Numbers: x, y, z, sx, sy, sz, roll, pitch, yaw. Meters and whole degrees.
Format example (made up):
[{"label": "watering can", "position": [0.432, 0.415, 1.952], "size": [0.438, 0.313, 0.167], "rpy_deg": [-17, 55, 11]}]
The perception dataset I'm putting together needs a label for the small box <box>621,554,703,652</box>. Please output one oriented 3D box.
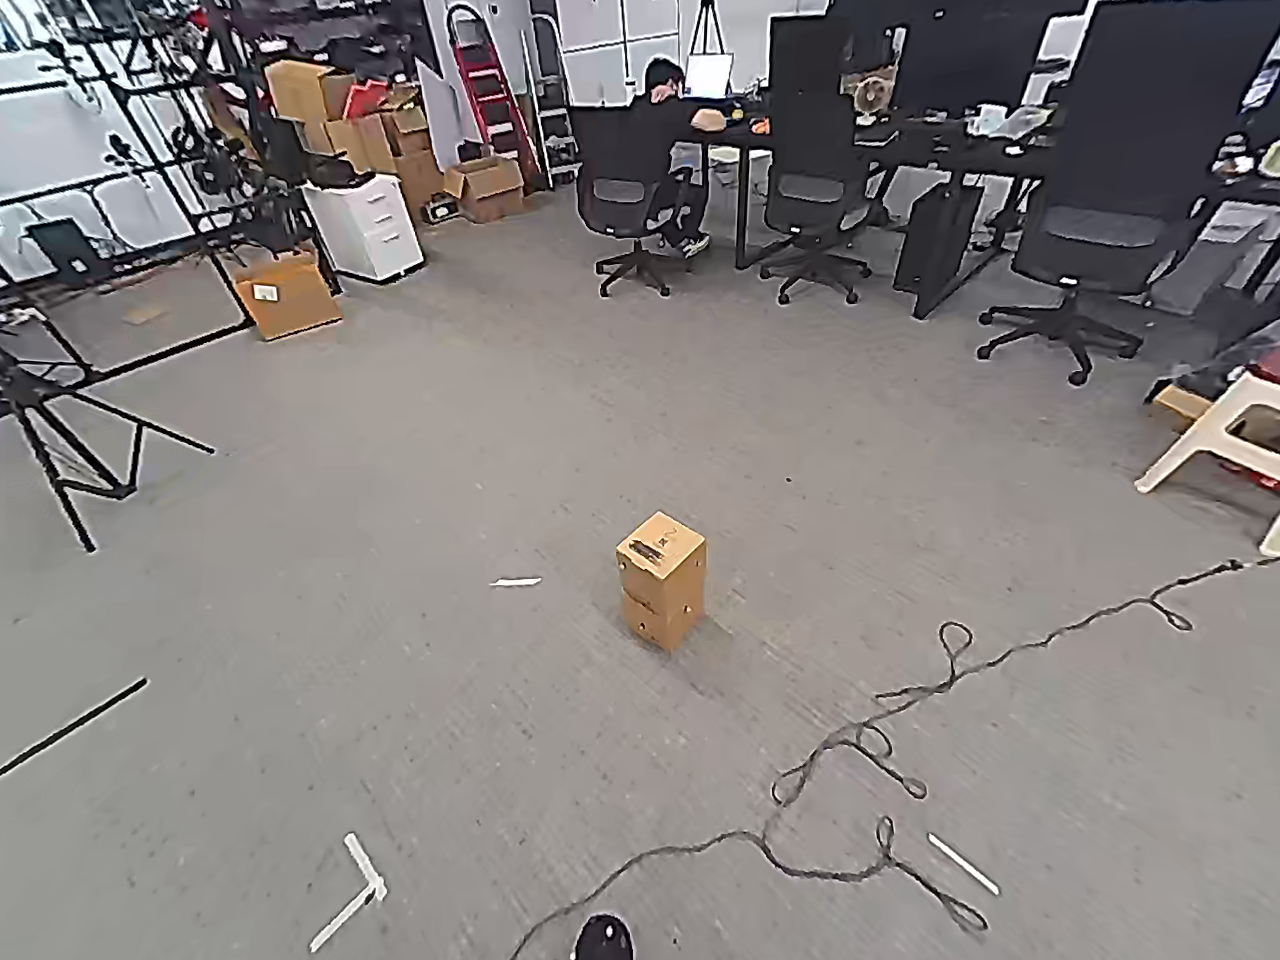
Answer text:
[{"label": "small box", "position": [0.066, 0.353, 1.551], "size": [0.168, 0.176, 0.179], "rpy_deg": [25, 51, 30]}]
